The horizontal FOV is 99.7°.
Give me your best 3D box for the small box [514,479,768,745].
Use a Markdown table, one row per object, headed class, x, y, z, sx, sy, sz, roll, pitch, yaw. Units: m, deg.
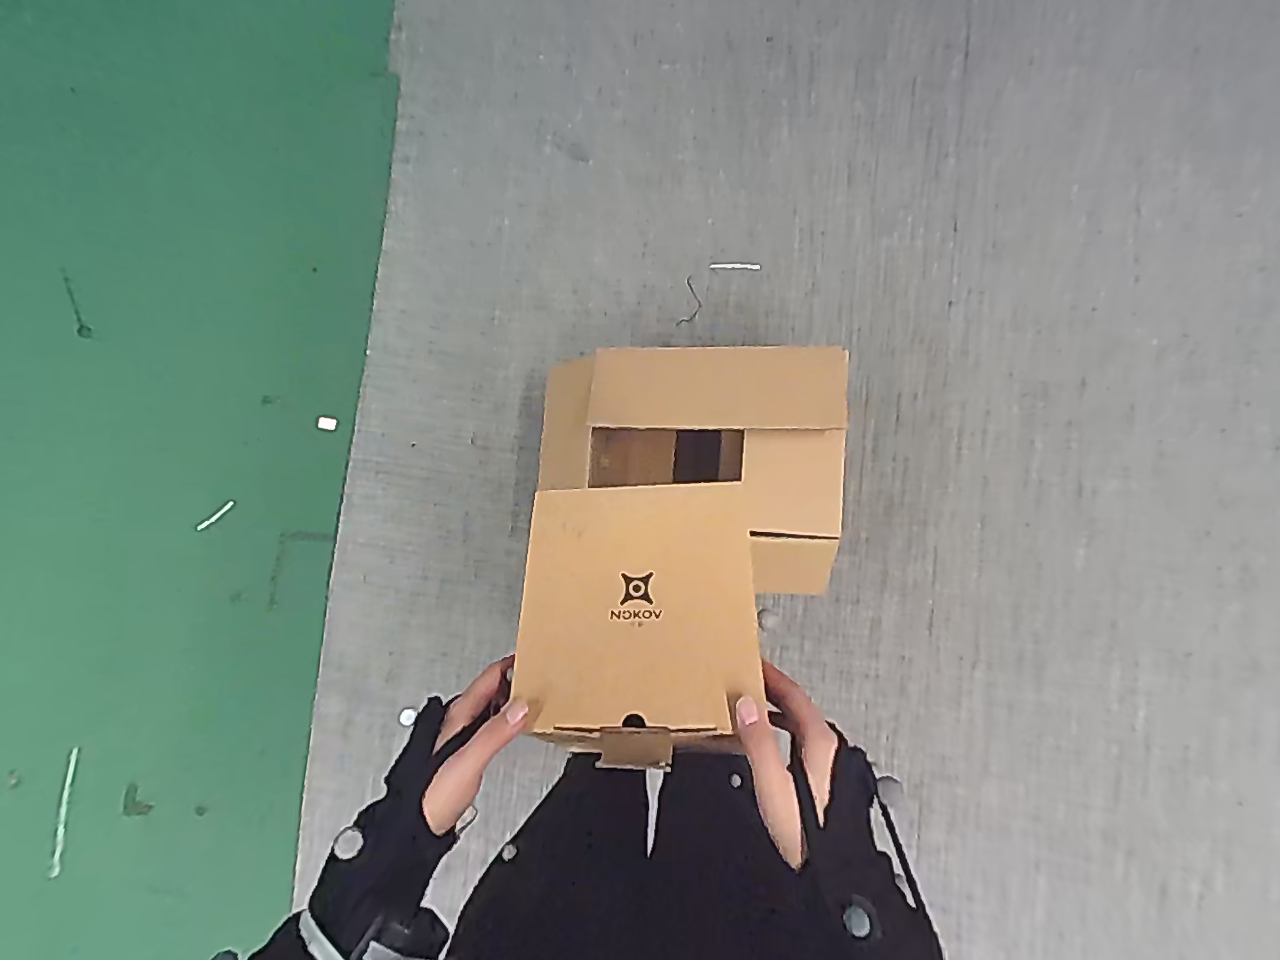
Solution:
| class | x | y | z | sx | sy | sz | roll | pitch | yaw |
| --- | --- | --- | --- | --- | --- | --- | --- | --- | --- |
| small box | 0.008 | 0.116 | 0.452 | 0.168 | 0.176 | 0.179 | -3 | 60 | 6 |
